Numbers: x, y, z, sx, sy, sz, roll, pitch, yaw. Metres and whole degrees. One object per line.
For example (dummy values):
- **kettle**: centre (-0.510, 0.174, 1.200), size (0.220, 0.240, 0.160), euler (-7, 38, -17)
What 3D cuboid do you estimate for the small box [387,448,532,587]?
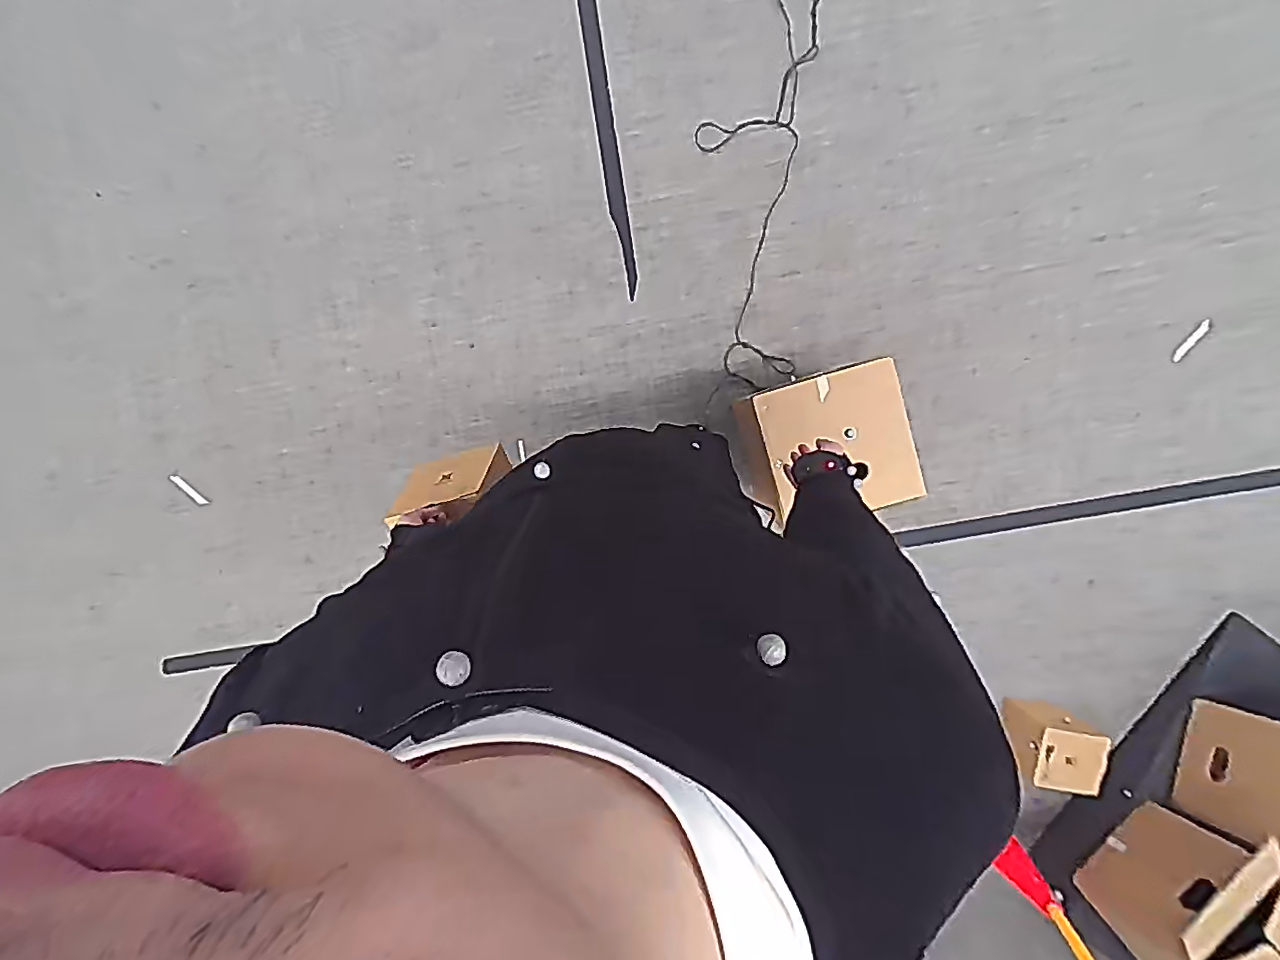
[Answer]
- **small box**: centre (-0.305, 0.072, 0.959), size (0.168, 0.179, 0.176), euler (-14, 119, 7)
